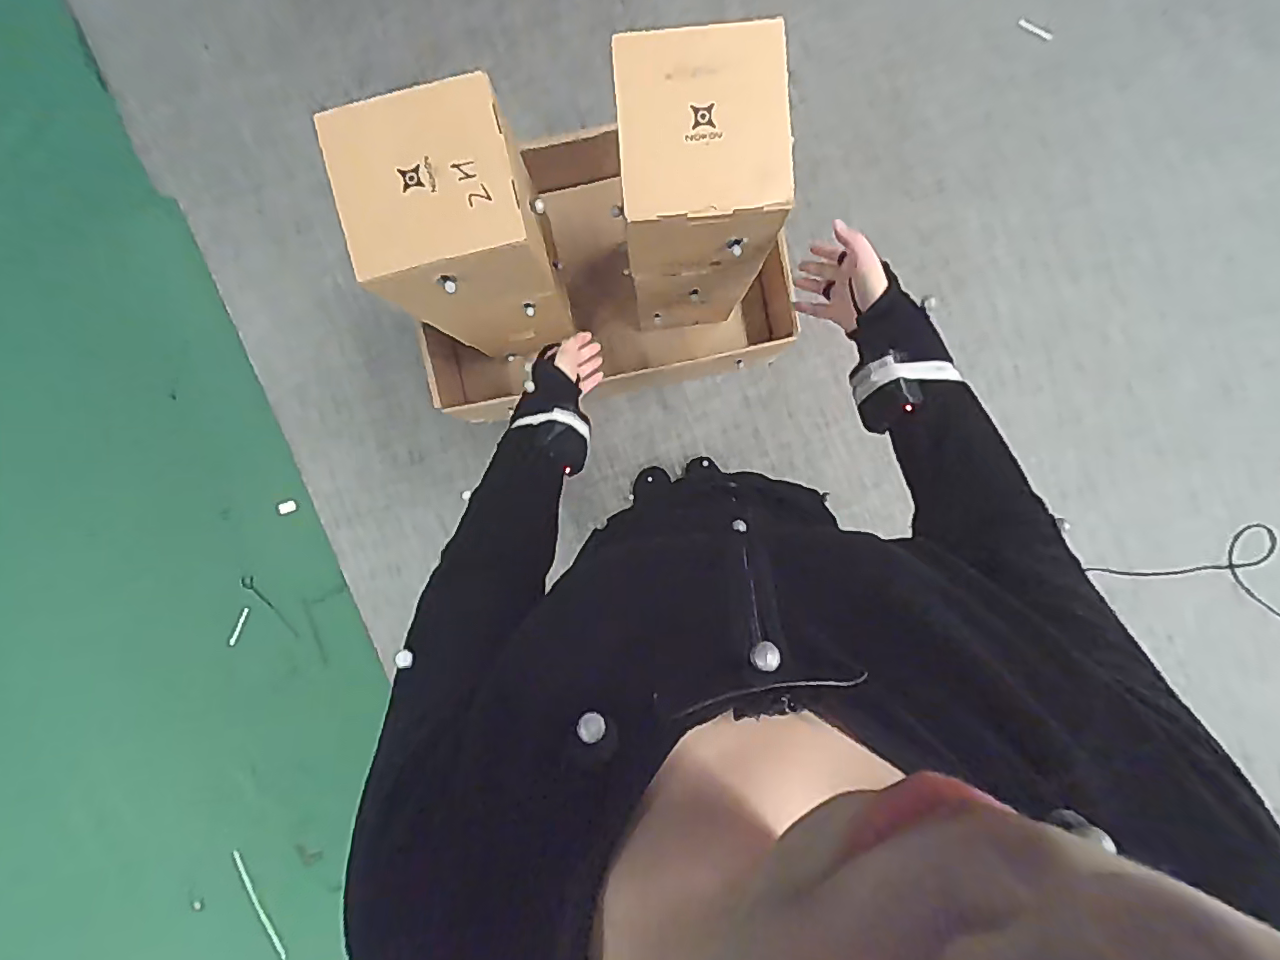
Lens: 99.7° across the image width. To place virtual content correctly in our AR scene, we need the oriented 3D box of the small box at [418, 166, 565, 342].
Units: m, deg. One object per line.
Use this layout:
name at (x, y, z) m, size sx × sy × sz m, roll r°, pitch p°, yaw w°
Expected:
small box at (-0.216, -0.306, 0.767) m, size 0.179 × 0.176 × 0.168 m, roll -13°, pitch 93°, yaw 0°

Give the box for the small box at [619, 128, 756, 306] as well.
small box at (0.062, -0.351, 0.759) m, size 0.168 × 0.176 × 0.179 m, roll -5°, pitch 94°, yaw 1°

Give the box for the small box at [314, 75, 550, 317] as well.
small box at (-0.213, -0.295, 0.603) m, size 0.179 × 0.176 × 0.168 m, roll -13°, pitch 94°, yaw 0°
